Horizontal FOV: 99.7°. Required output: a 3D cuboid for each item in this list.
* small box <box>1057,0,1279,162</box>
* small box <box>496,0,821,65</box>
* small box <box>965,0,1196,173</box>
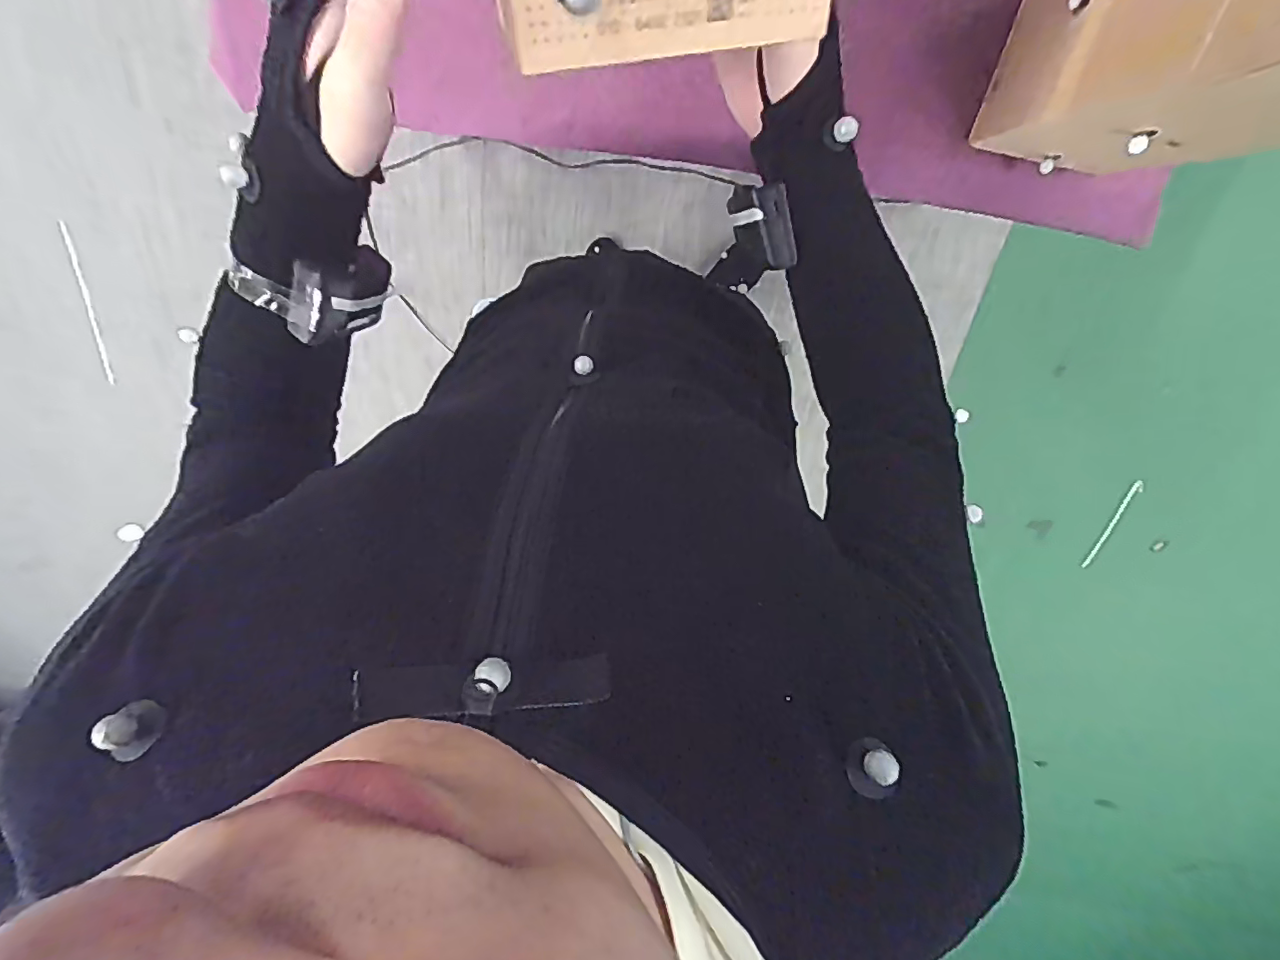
[{"bbox_3d":[0.491,-0.376,0.430,0.168,0.176,0.179,13,115,0],"label":"small box"},{"bbox_3d":[-0.003,-0.335,0.280,0.168,0.179,0.176,-13,137,-9],"label":"small box"},{"bbox_3d":[0.500,-0.441,0.579,0.179,0.176,0.168,12,114,-1],"label":"small box"}]
